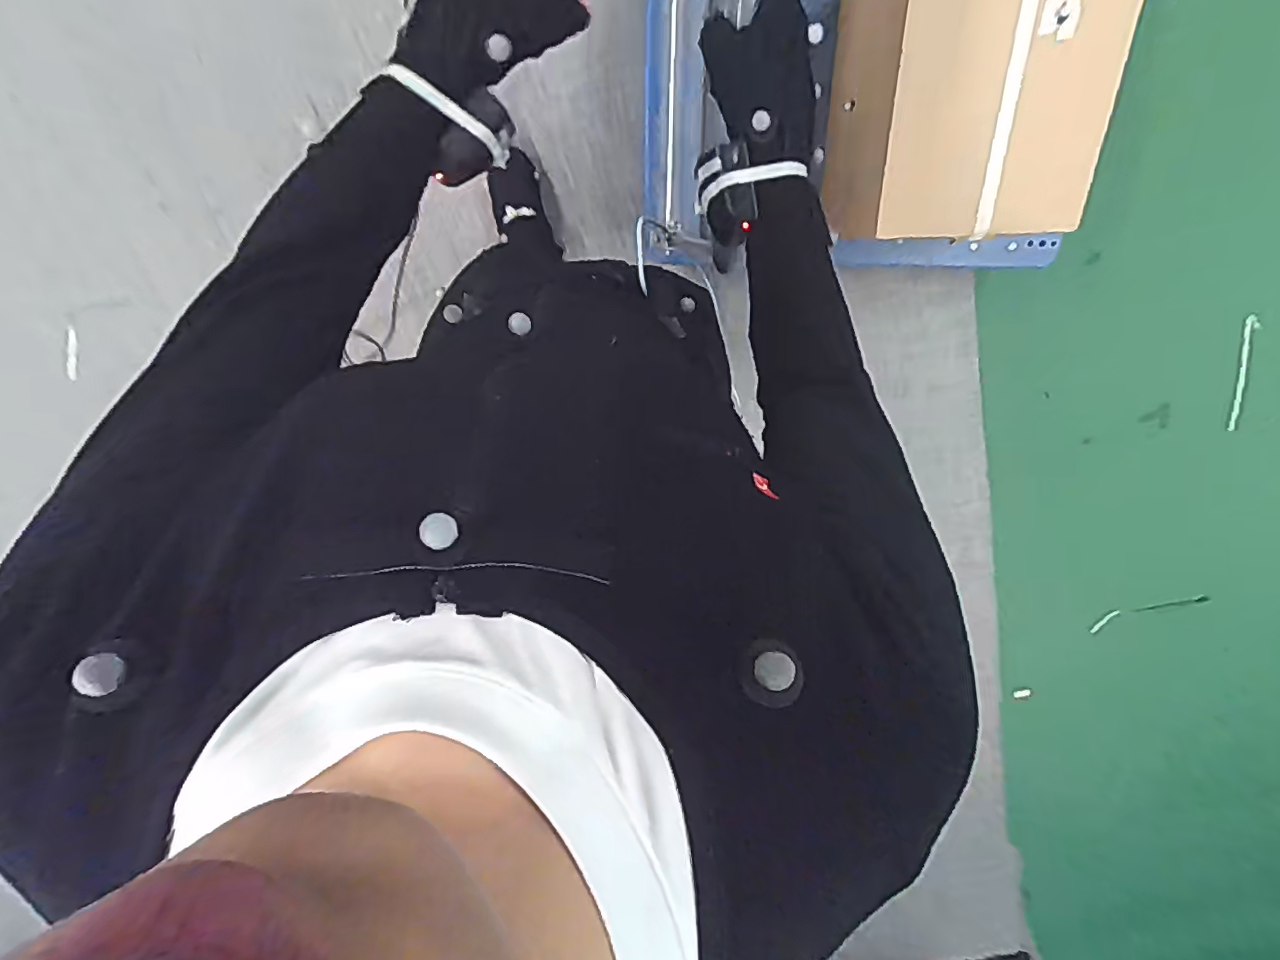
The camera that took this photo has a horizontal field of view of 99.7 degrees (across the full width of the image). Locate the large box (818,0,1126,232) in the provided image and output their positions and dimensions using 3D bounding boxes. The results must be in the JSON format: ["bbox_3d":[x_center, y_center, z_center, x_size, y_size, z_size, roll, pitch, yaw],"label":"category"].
[{"bbox_3d":[0.503,-0.637,0.891,0.320,0.320,0.408,-2,115,0],"label":"large box"}]
